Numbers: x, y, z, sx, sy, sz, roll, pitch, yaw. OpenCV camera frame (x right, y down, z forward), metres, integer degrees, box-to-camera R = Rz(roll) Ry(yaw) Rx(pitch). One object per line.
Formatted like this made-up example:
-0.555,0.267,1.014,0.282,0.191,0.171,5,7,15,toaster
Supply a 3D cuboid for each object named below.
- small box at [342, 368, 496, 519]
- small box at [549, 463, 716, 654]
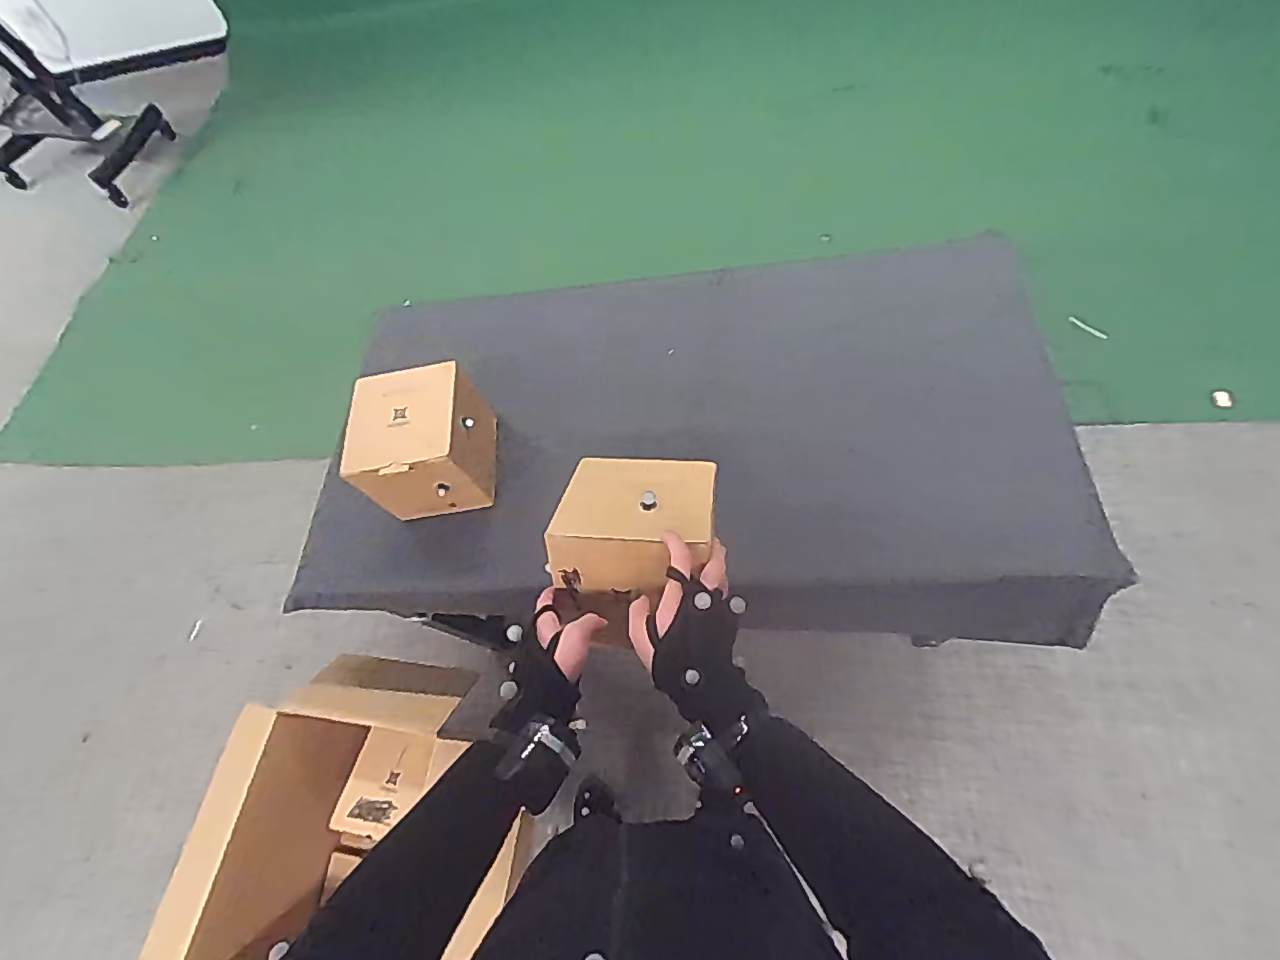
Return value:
-0.341,-0.049,0.872,0.168,0.176,0.179,-10,60,5,small box
0.002,0.088,0.664,0.179,0.168,0.176,2,30,8,small box
